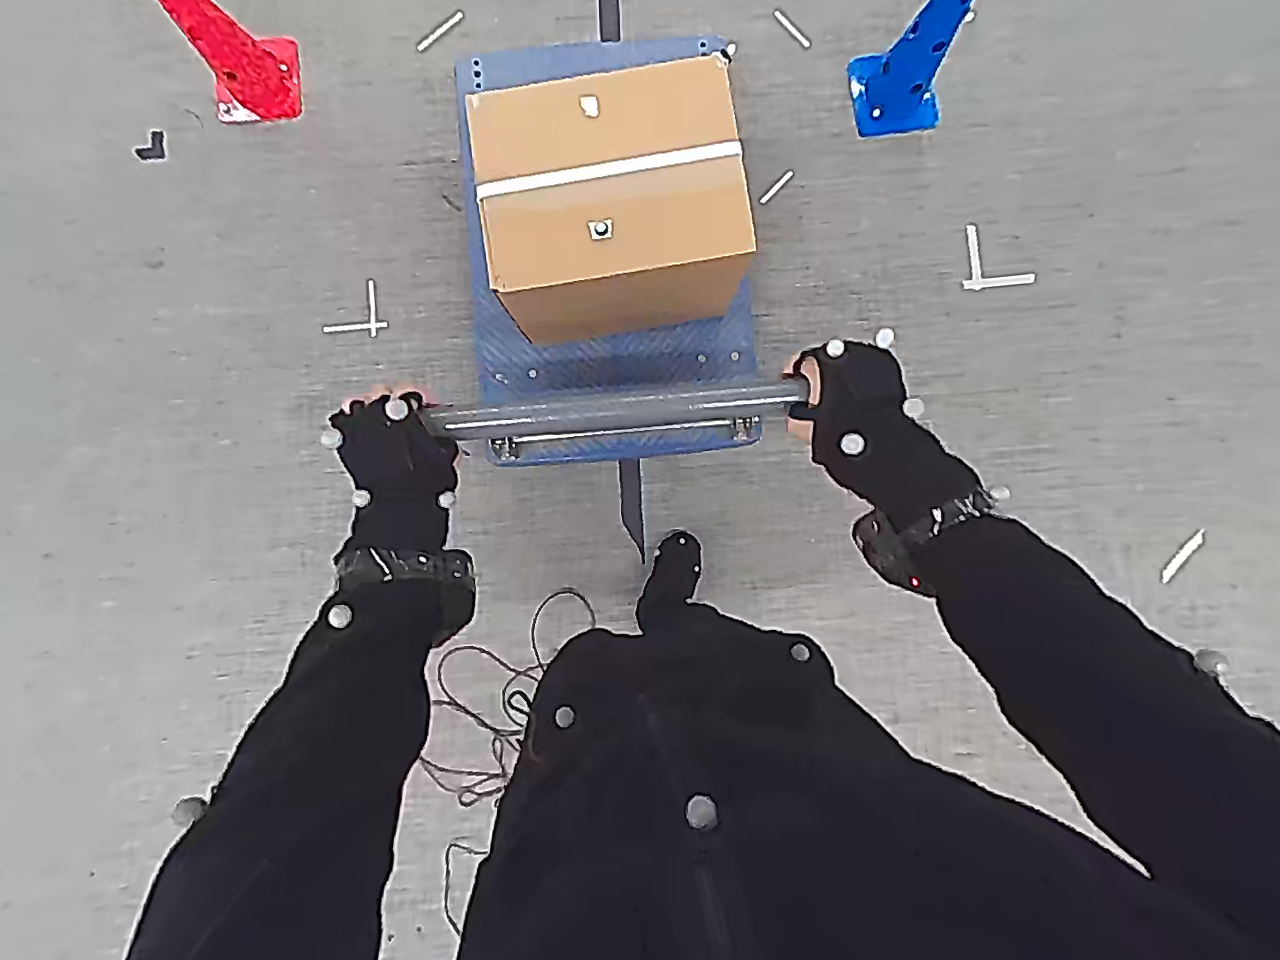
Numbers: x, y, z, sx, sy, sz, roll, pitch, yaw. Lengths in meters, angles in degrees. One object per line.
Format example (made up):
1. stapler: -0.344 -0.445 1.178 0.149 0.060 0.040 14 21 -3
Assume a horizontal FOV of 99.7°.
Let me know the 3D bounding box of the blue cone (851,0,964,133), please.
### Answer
1. blue cone: 0.621 -0.951 1.156 0.193 0.380 0.192 -7 87 -1
